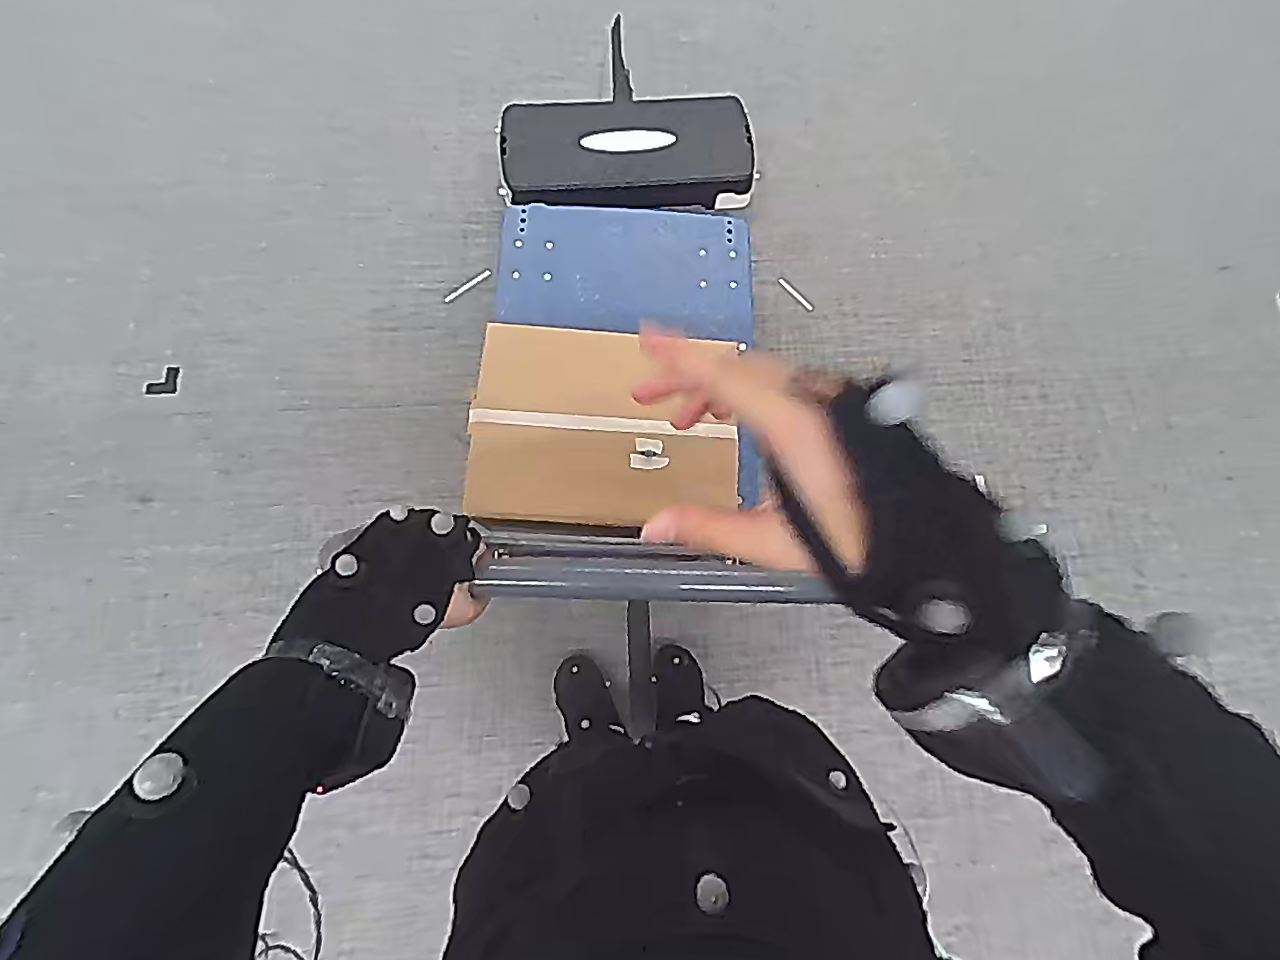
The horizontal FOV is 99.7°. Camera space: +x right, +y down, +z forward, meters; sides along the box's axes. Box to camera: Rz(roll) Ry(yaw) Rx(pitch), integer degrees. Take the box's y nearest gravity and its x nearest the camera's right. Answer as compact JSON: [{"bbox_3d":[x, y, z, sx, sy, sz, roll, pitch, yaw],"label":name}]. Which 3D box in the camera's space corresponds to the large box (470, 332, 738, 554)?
[{"bbox_3d":[-0.057,-0.042,0.976,0.408,0.320,0.320,4,77,-3],"label":"large box"}]
